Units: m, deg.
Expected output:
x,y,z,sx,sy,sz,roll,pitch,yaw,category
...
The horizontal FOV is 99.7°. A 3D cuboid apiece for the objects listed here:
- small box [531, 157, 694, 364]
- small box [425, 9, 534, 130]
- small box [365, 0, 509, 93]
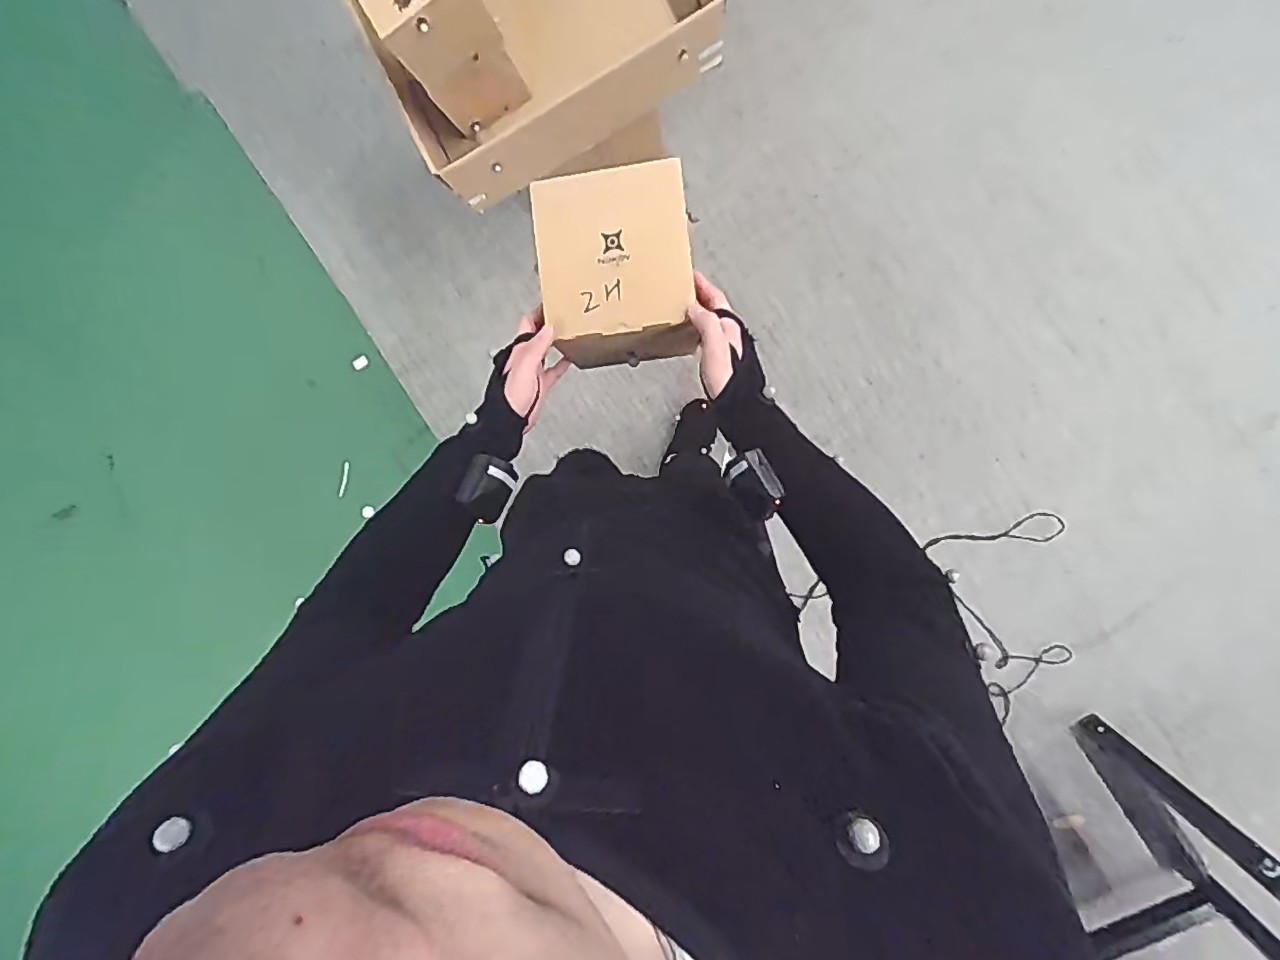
x,y,z,sx,sy,sz,roll,pitch,yaw,category
-0.023,-0.253,0.664,0.168,0.176,0.179,-6,91,8,small box
-0.330,-0.822,1.047,0.168,0.176,0.179,-26,94,11,small box
-0.347,-0.796,0.886,0.168,0.176,0.179,-28,94,12,small box
